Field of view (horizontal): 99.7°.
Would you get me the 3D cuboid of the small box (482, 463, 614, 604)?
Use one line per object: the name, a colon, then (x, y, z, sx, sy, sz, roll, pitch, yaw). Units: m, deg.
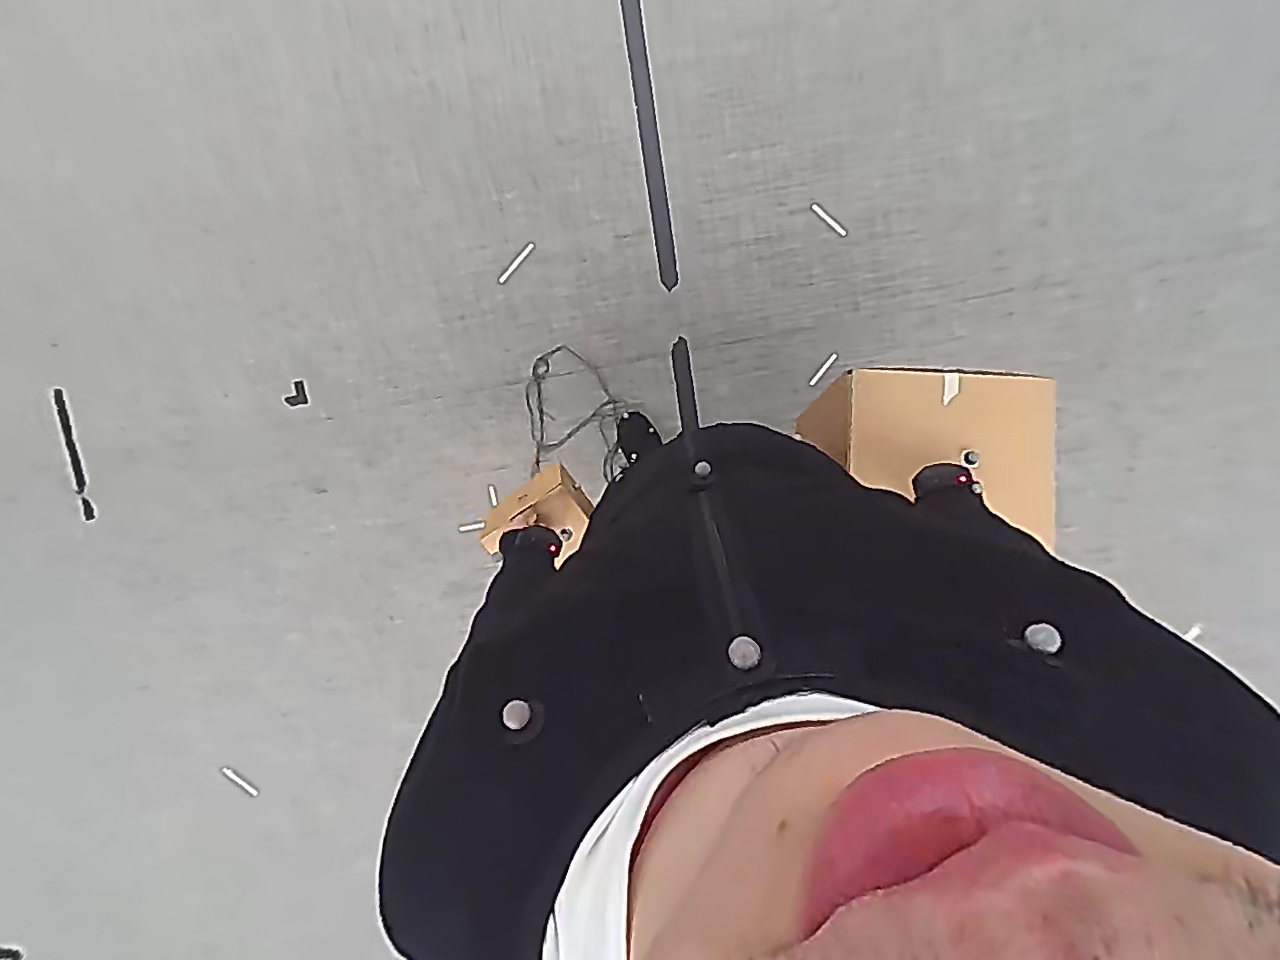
small box: (-0.160, 0.098, 0.985, 0.168, 0.179, 0.176, -34, 107, 2)
